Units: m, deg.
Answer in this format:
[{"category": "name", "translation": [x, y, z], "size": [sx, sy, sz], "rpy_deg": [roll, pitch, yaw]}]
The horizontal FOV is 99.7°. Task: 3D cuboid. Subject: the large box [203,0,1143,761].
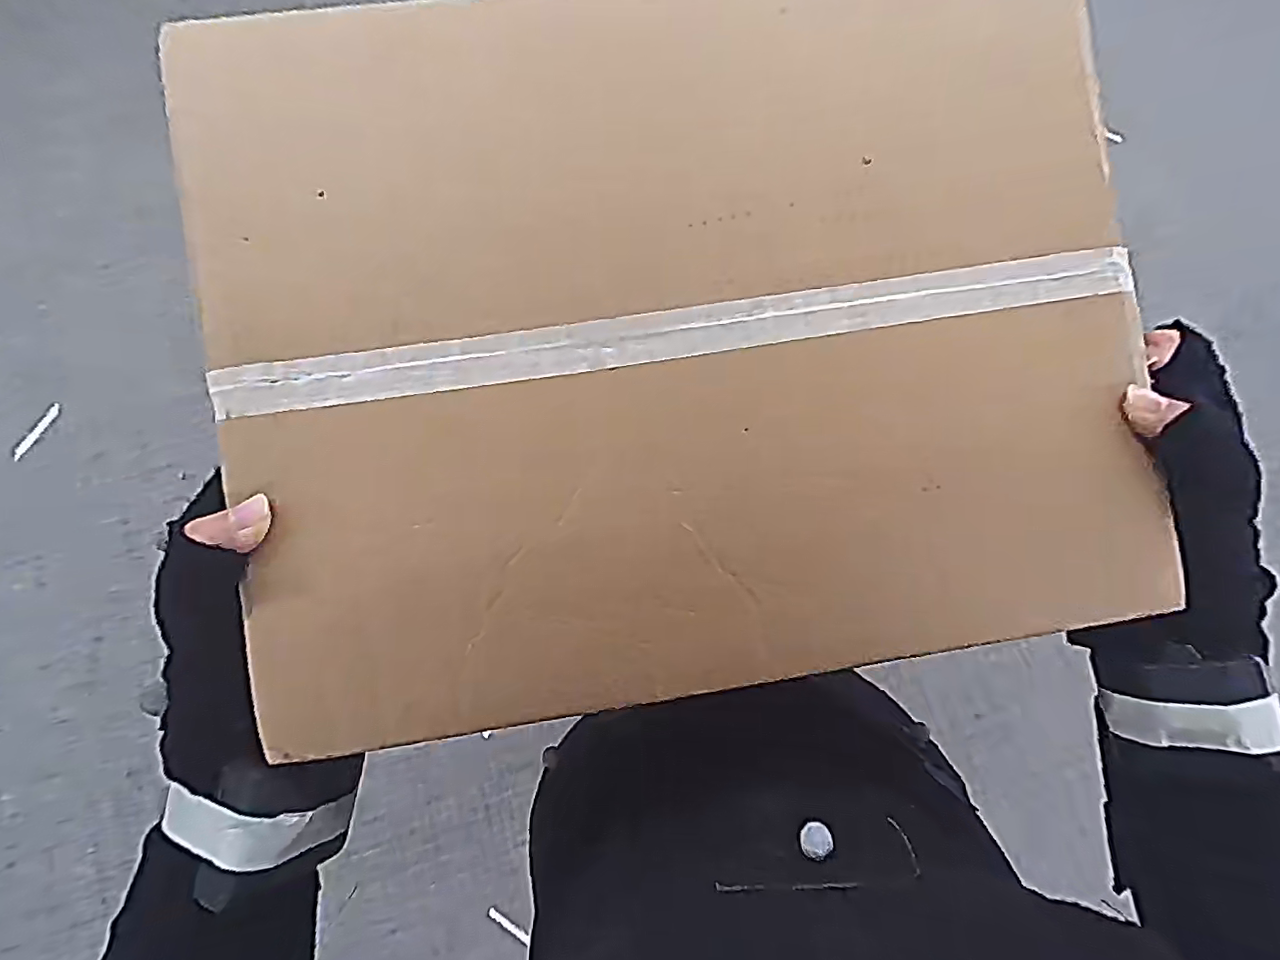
[{"category": "large box", "translation": [0.018, -0.056, 0.397], "size": [0.408, 0.320, 0.320], "rpy_deg": [-9, 89, -3]}]
